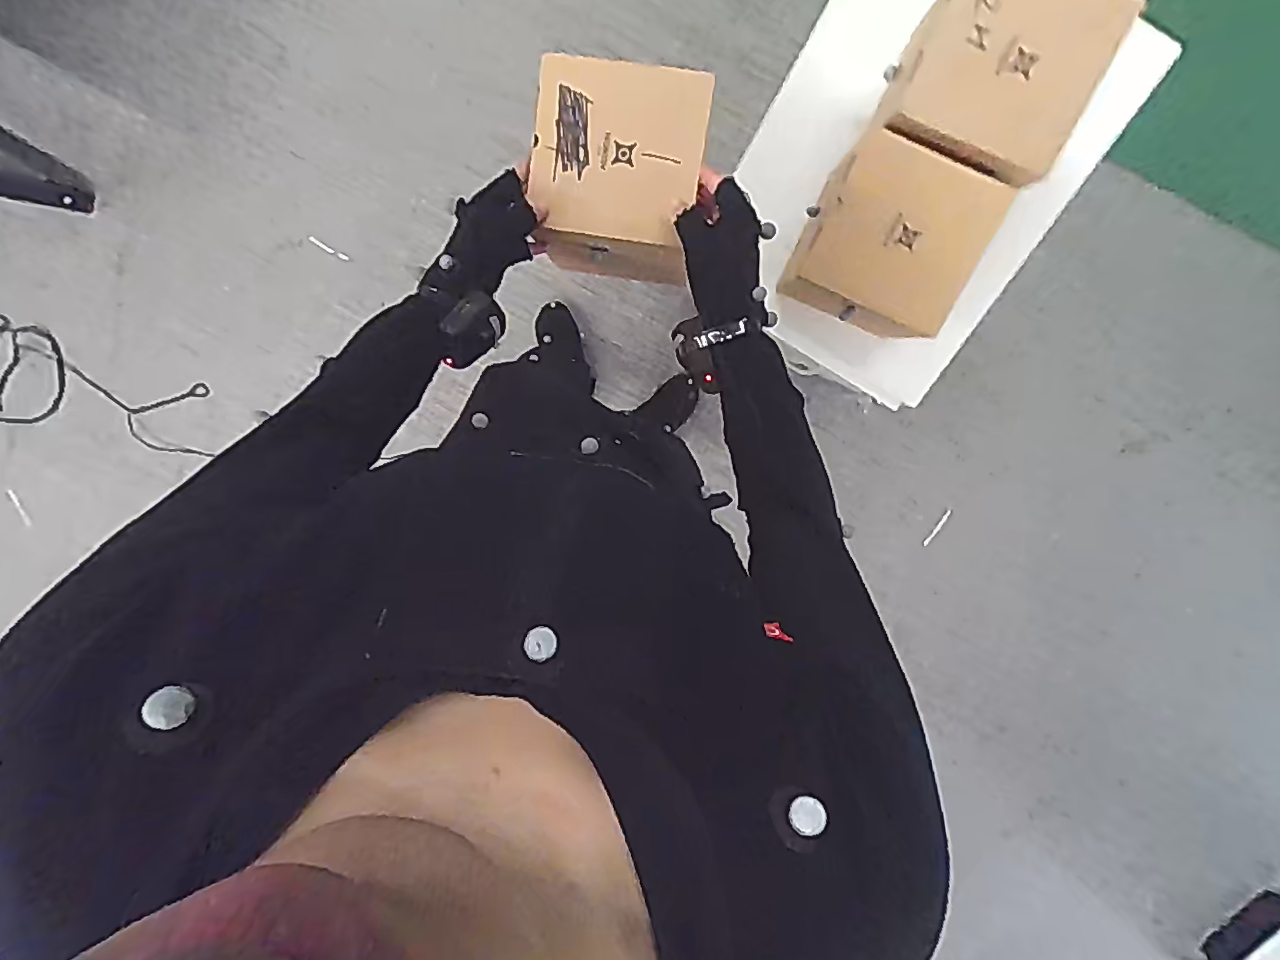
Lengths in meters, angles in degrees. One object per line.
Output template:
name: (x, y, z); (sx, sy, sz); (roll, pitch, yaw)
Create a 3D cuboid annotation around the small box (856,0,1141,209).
small box: (0.381, -0.432, 0.615); (0.179, 0.176, 0.168); (24, 105, 0)
